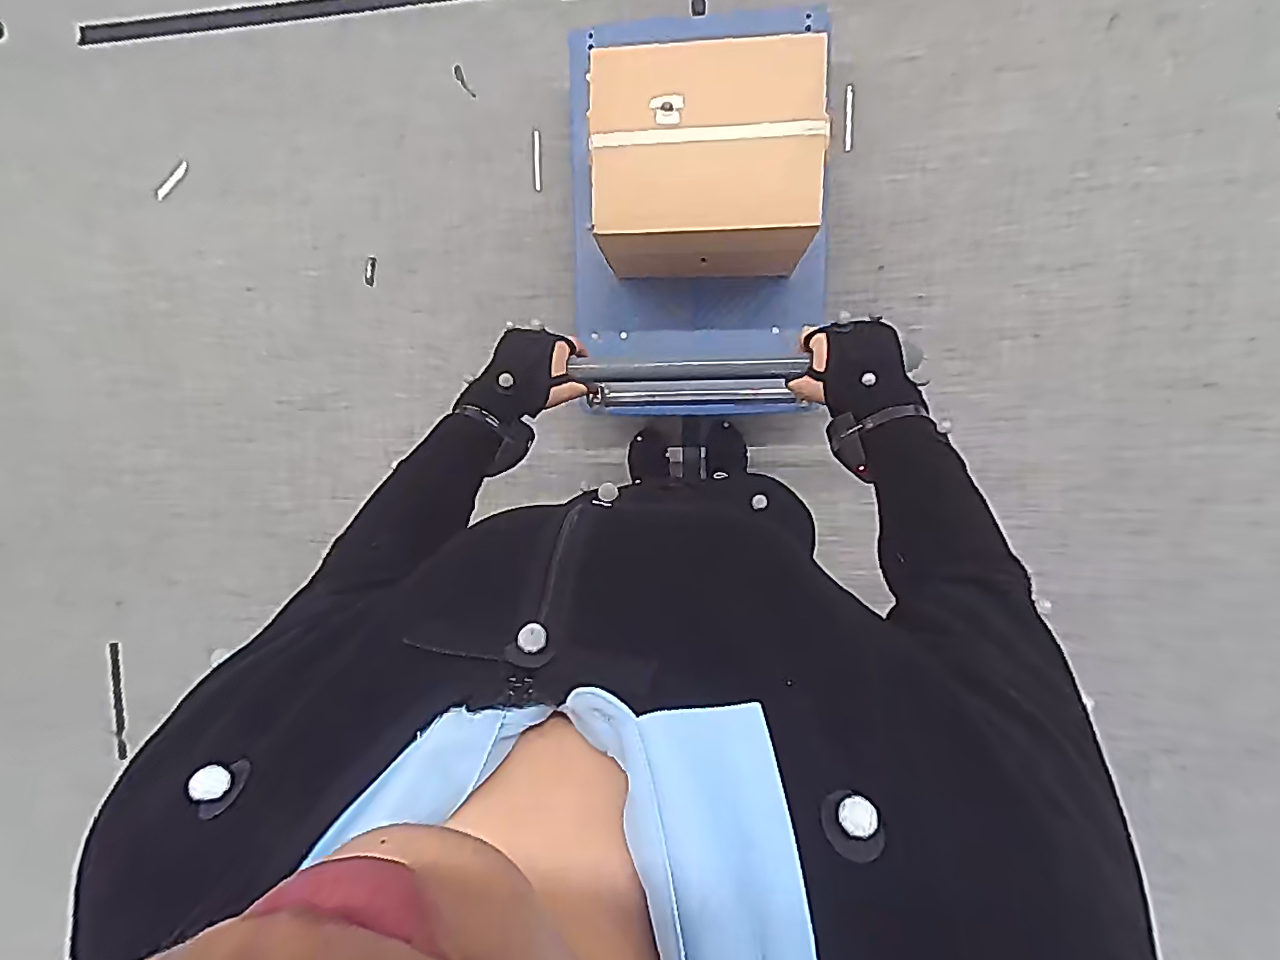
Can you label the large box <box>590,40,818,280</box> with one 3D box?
[{"bbox_3d":[0.128,-0.610,1.102,0.408,0.320,0.320,0,95,7],"label":"large box"}]
